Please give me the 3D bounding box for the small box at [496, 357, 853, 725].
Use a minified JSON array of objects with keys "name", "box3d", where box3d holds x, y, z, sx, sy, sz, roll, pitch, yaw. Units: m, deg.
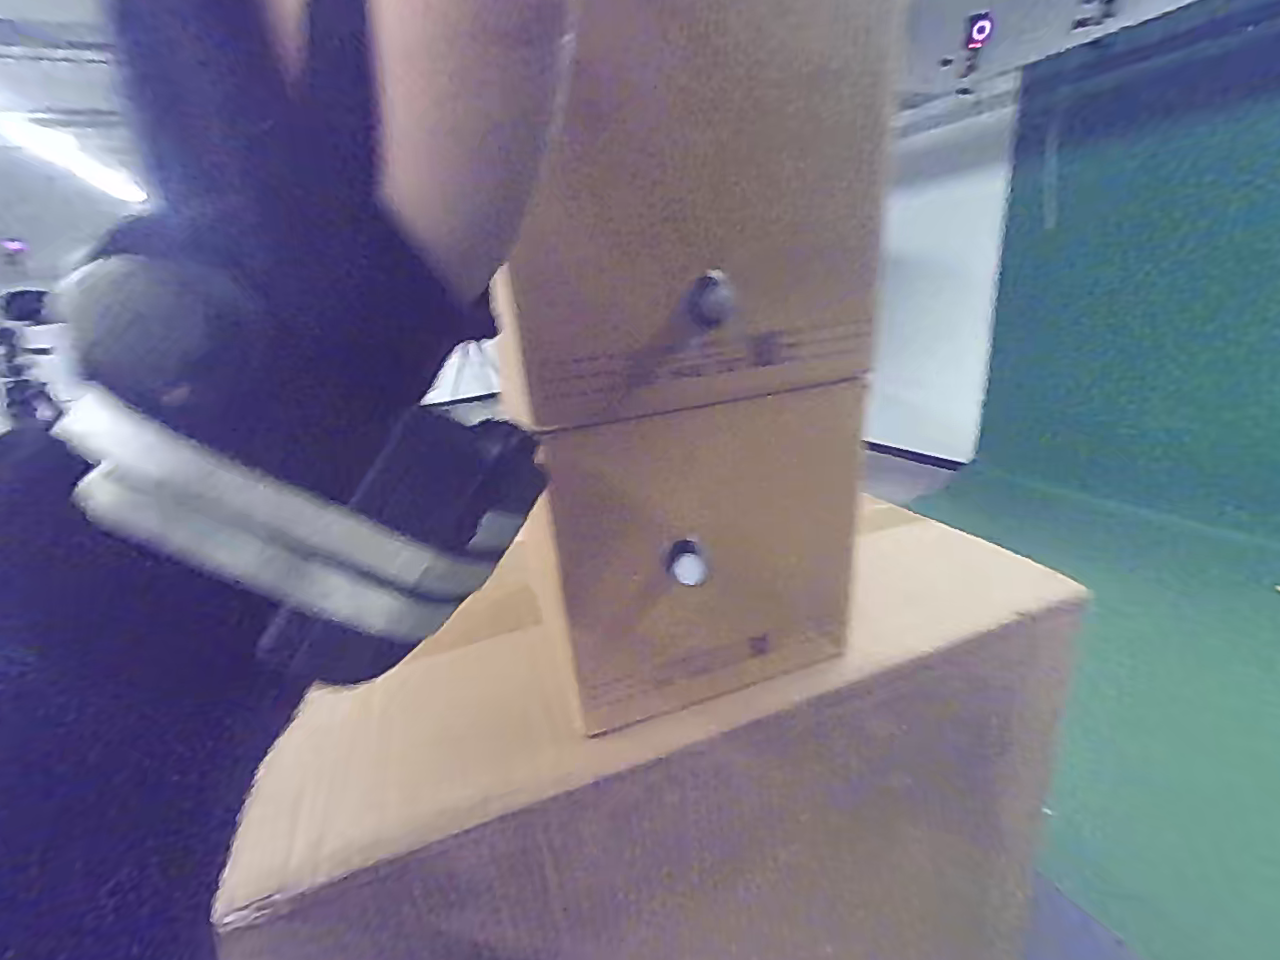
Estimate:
[{"name":"small box","box3d":[0.011,0.026,0.346,0.168,0.176,0.179,-12,22,-16]}]
